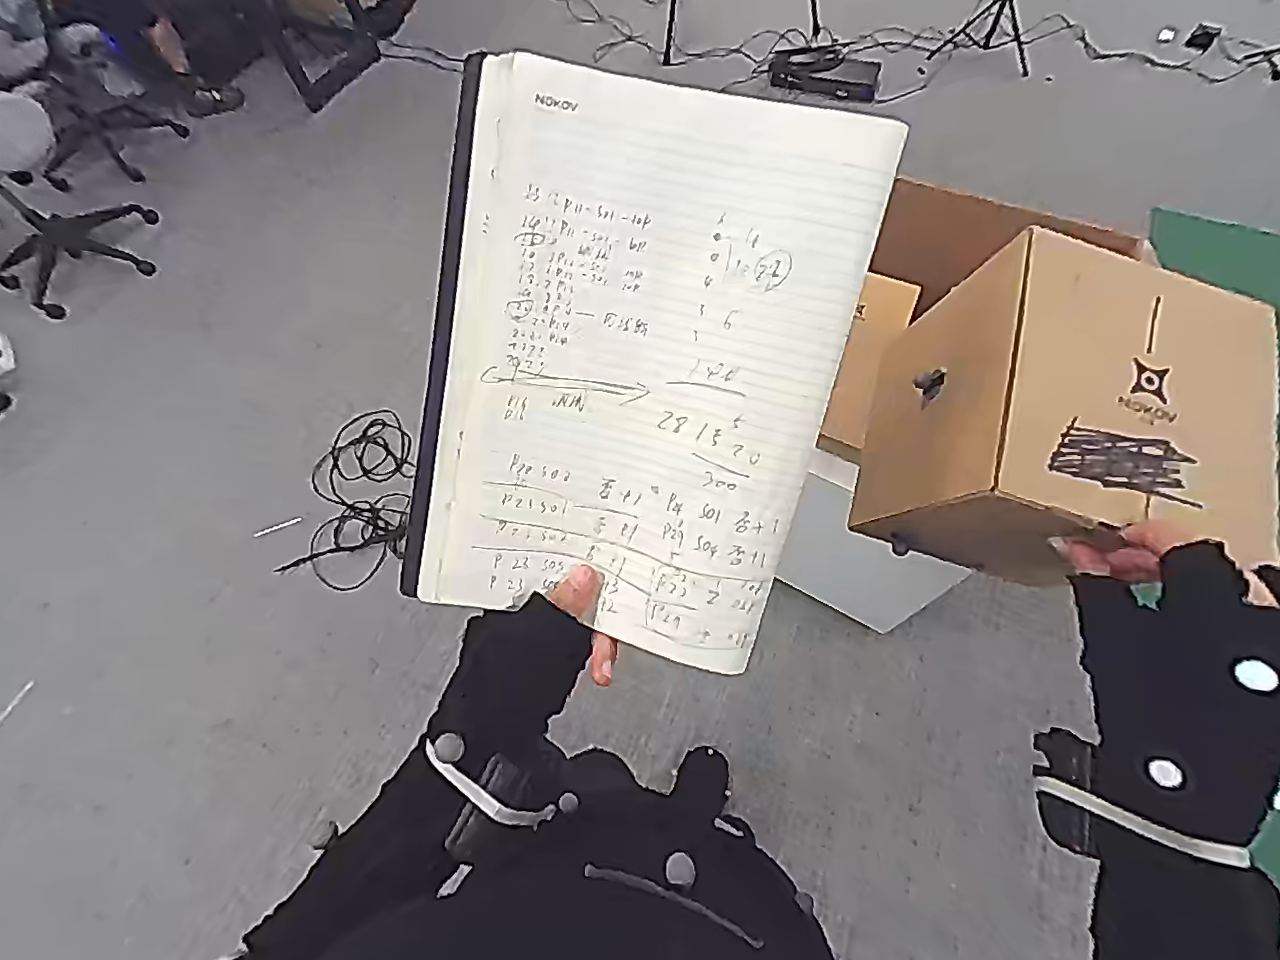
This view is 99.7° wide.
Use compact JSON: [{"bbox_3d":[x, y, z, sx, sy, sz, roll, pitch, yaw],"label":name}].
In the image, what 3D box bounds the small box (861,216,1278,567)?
[{"bbox_3d":[0.285,-0.042,0.393,0.168,0.176,0.179,17,76,-2],"label":"small box"}]
